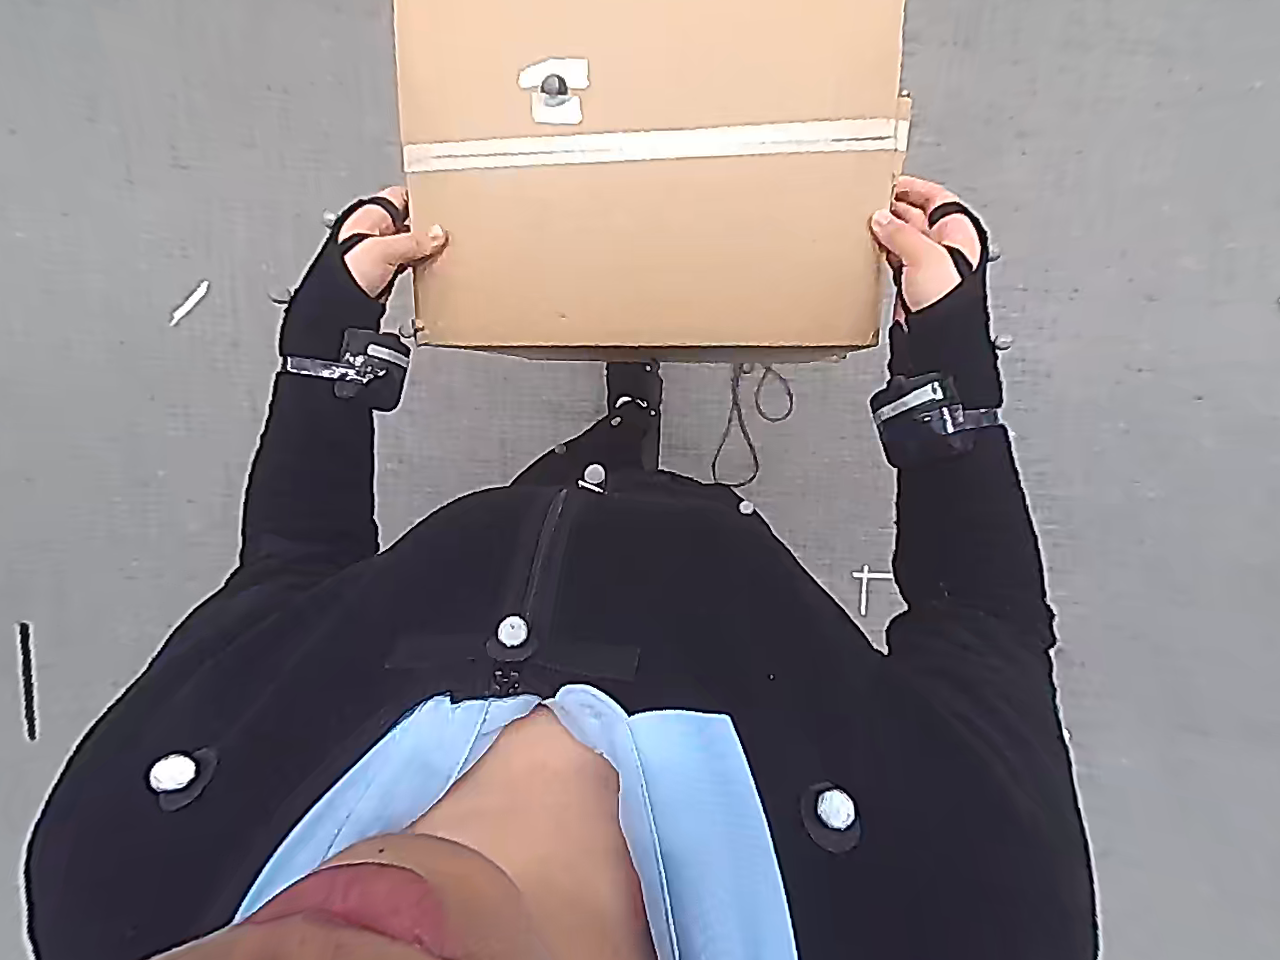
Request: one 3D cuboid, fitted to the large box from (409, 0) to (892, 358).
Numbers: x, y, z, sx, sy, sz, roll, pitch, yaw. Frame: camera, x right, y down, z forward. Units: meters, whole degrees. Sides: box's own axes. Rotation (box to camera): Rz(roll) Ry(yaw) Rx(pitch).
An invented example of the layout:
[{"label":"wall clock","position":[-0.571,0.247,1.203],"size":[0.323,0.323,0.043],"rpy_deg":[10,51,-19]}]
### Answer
[{"label":"large box","position":[0.022,-0.302,0.600],"size":[0.408,0.320,0.320],"rpy_deg":[2,98,8]}]
